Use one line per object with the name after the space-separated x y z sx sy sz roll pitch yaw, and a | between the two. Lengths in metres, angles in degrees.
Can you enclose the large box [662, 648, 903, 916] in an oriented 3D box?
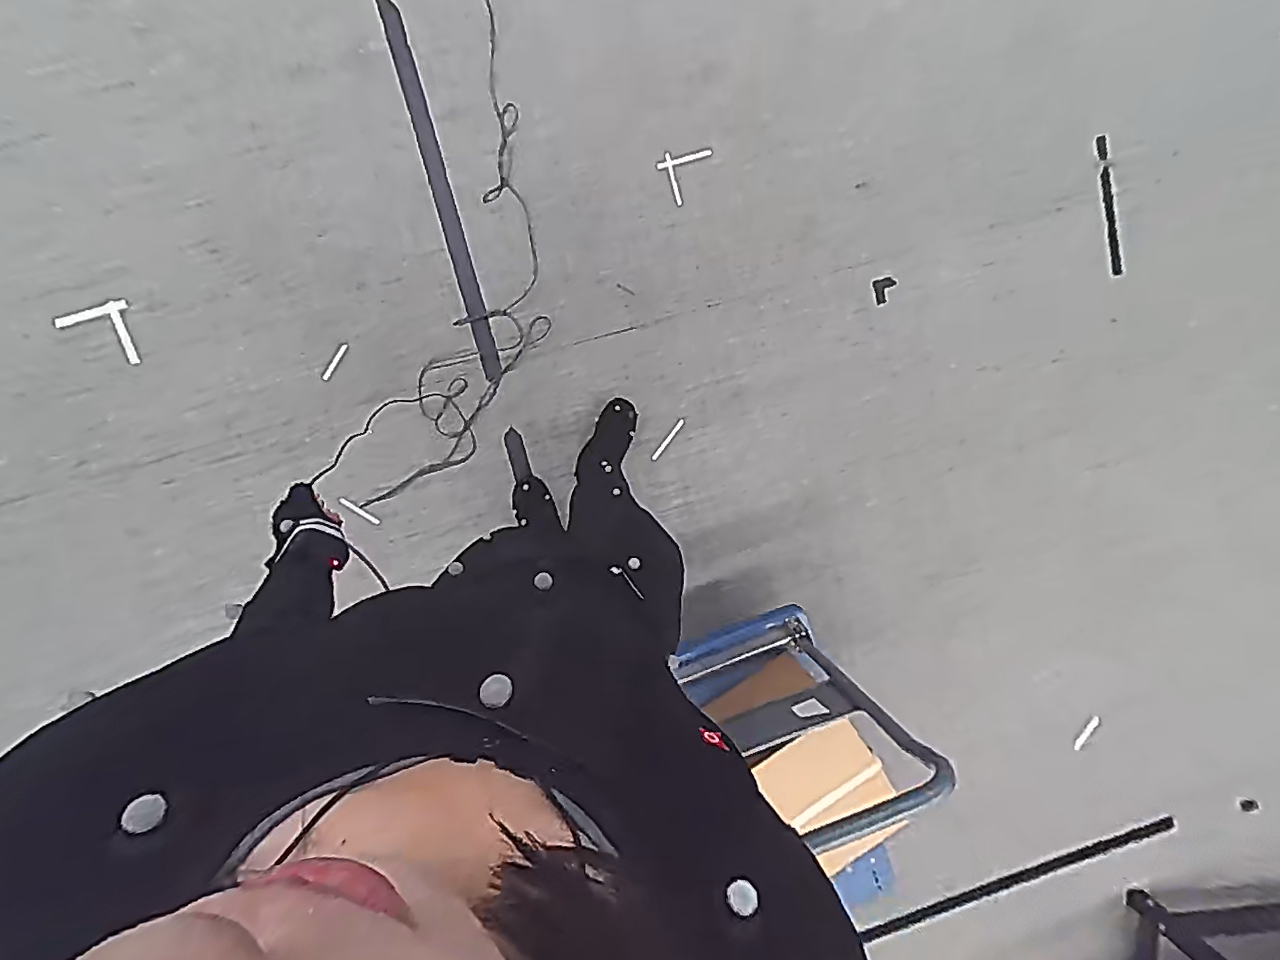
0.314 0.685 1.289 0.408 0.320 0.320 -34 97 -1 | large box
